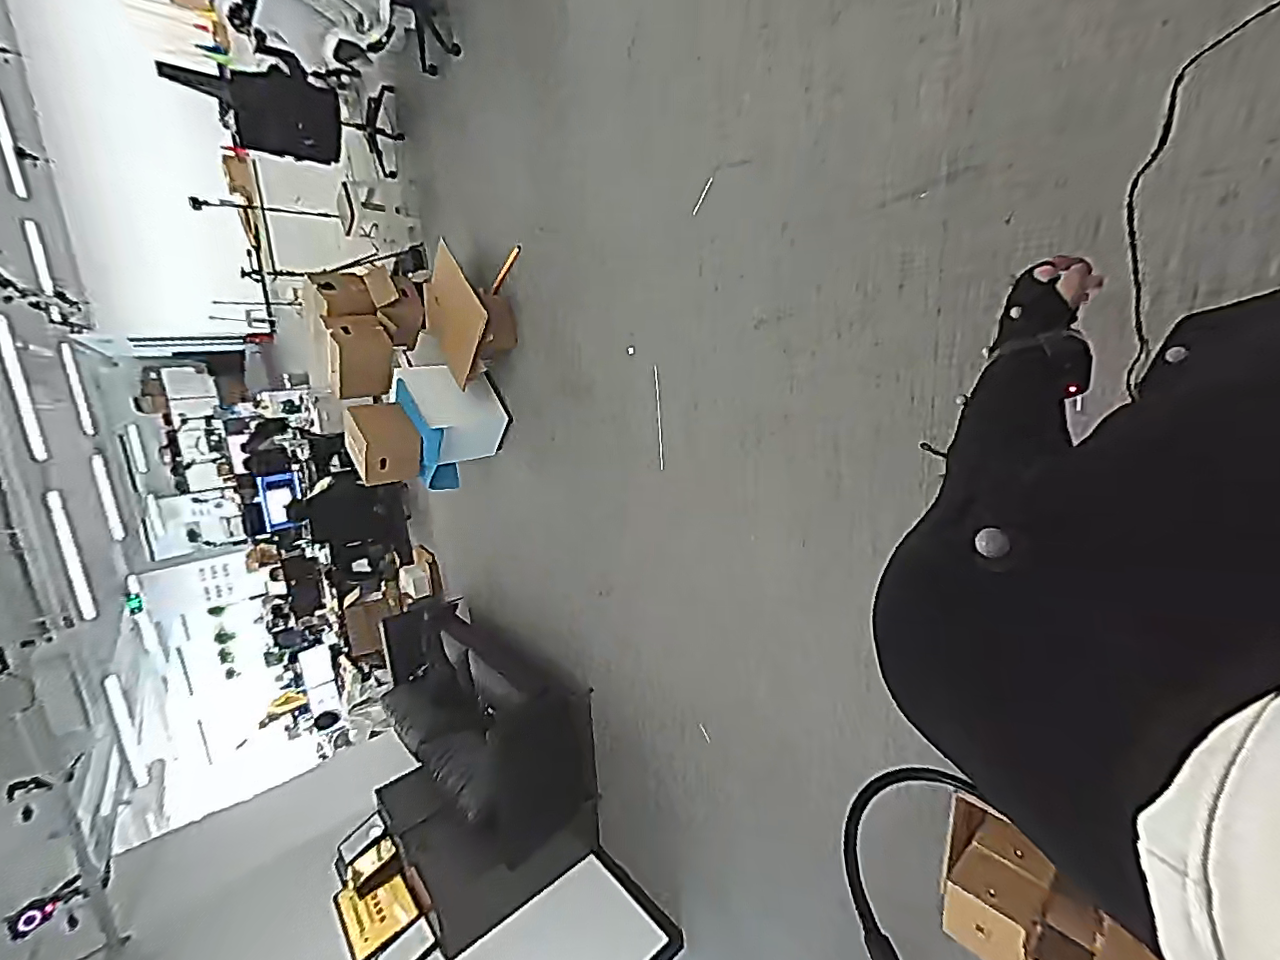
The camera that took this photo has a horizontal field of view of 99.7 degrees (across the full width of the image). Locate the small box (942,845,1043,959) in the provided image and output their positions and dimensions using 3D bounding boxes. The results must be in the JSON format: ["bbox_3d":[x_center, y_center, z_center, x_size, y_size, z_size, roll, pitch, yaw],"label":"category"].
[{"bbox_3d":[0.919,1.107,1.408,0.179,0.176,0.168,12,109,49],"label":"small box"}]
